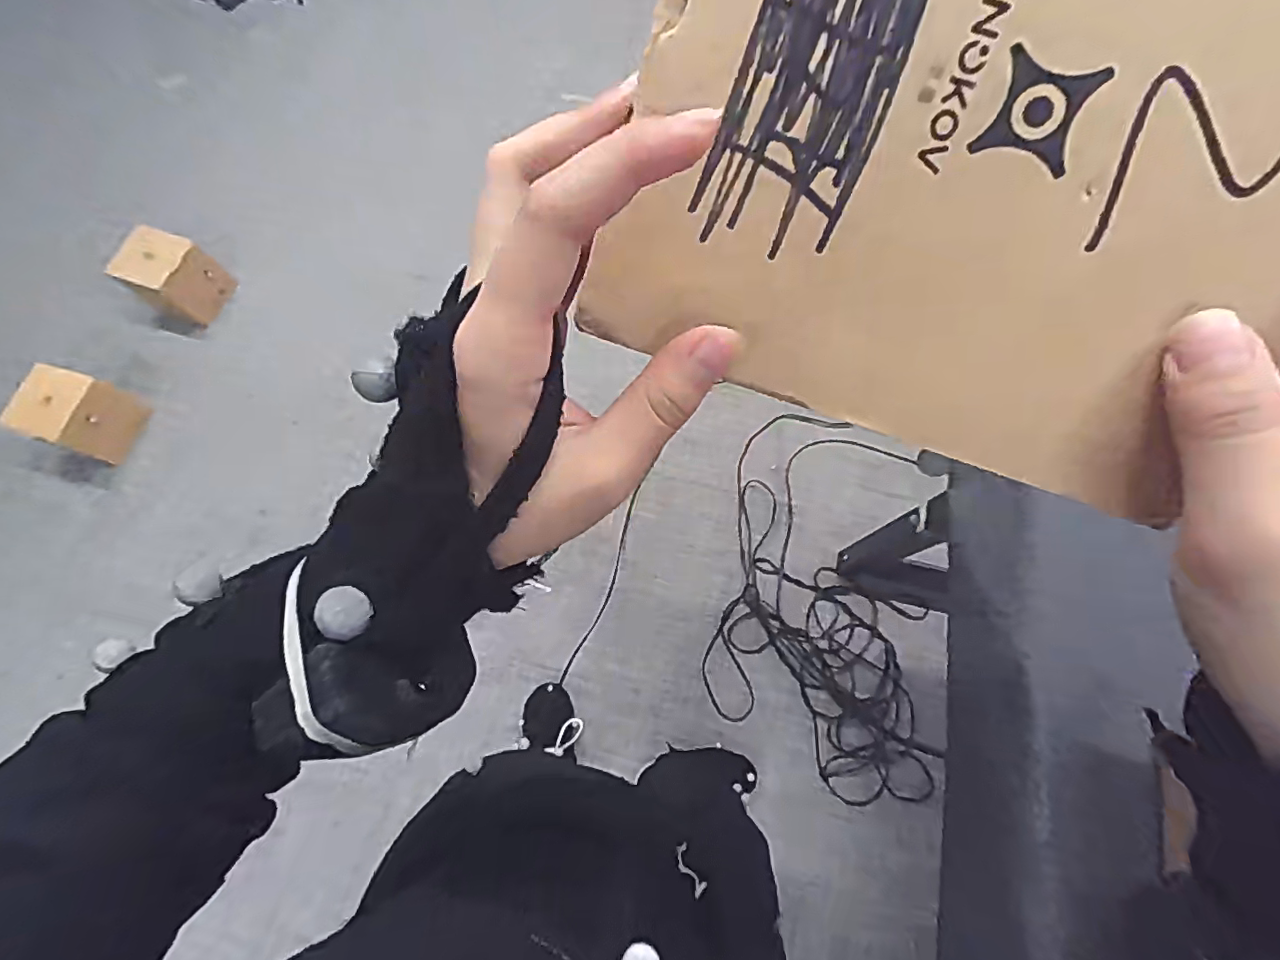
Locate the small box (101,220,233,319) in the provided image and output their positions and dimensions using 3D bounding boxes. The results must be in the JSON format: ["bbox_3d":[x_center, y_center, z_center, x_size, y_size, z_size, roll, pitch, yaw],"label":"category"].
[{"bbox_3d":[-1.276,-0.565,1.475,0.179,0.176,0.168,18,72,8],"label":"small box"}]

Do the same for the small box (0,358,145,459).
[{"bbox_3d":[-1.409,-0.174,1.353,0.168,0.176,0.179,14,74,5],"label":"small box"}]
